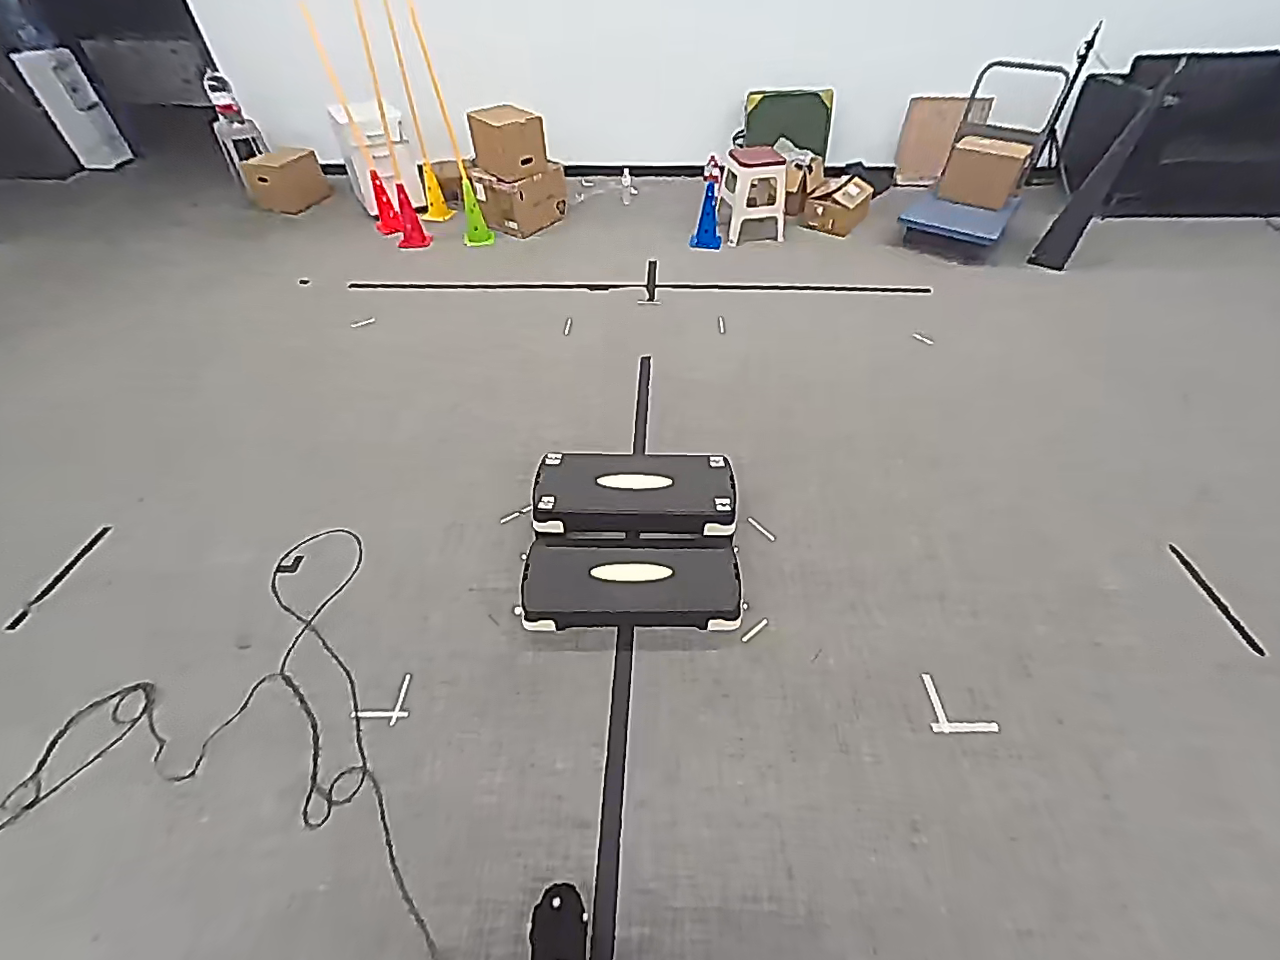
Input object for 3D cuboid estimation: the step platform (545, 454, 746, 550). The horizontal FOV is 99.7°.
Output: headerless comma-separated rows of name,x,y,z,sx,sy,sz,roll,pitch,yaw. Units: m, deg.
step platform,0.018,0.070,1.860,0.684,0.204,0.286,1,46,0
